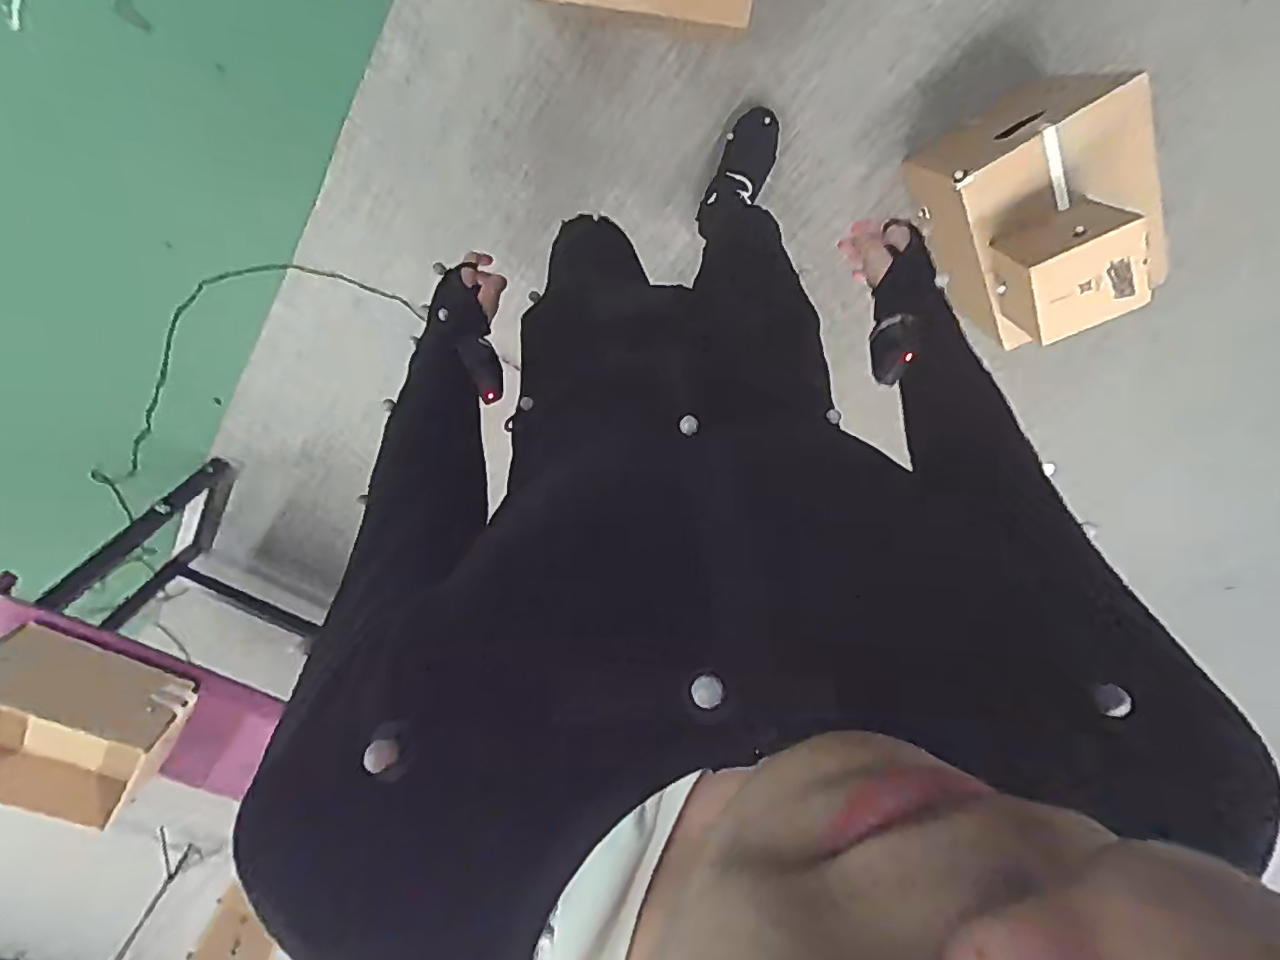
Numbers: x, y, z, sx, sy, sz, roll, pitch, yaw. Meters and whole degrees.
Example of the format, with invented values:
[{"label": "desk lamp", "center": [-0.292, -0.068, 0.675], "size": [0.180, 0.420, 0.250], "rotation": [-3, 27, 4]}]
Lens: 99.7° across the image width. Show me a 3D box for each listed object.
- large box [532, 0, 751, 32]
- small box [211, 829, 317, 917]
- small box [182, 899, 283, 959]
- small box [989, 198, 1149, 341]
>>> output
[{"label": "large box", "center": [0.010, -1.001, 0.934], "size": [0.408, 0.320, 0.320], "rotation": [8, 125, 0]}, {"label": "small box", "center": [-1.048, 1.114, 1.522], "size": [0.168, 0.176, 0.179], "rotation": [35, 121, -19]}, {"label": "small box", "center": [-1.062, 1.212, 1.391], "size": [0.168, 0.176, 0.179], "rotation": [34, 121, -18]}, {"label": "small box", "center": [0.796, -0.398, 1.014], "size": [0.179, 0.176, 0.168], "rotation": [-22, 122, 21]}]
